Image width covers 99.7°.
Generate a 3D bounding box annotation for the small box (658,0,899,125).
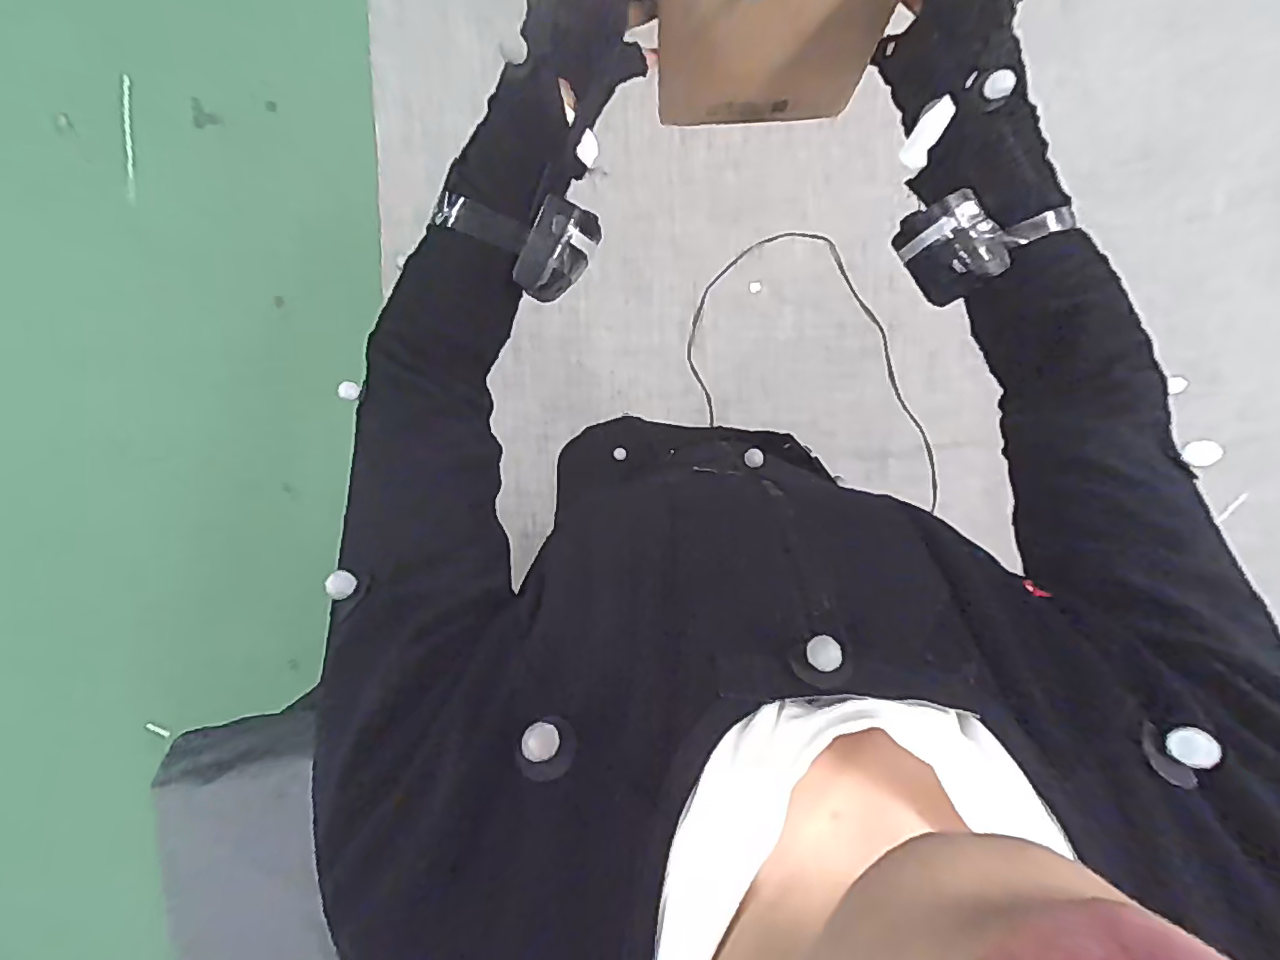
[{"bbox_3d":[0.097,-0.413,0.412,0.168,0.176,0.179,-2,87,2],"label":"small box"}]
